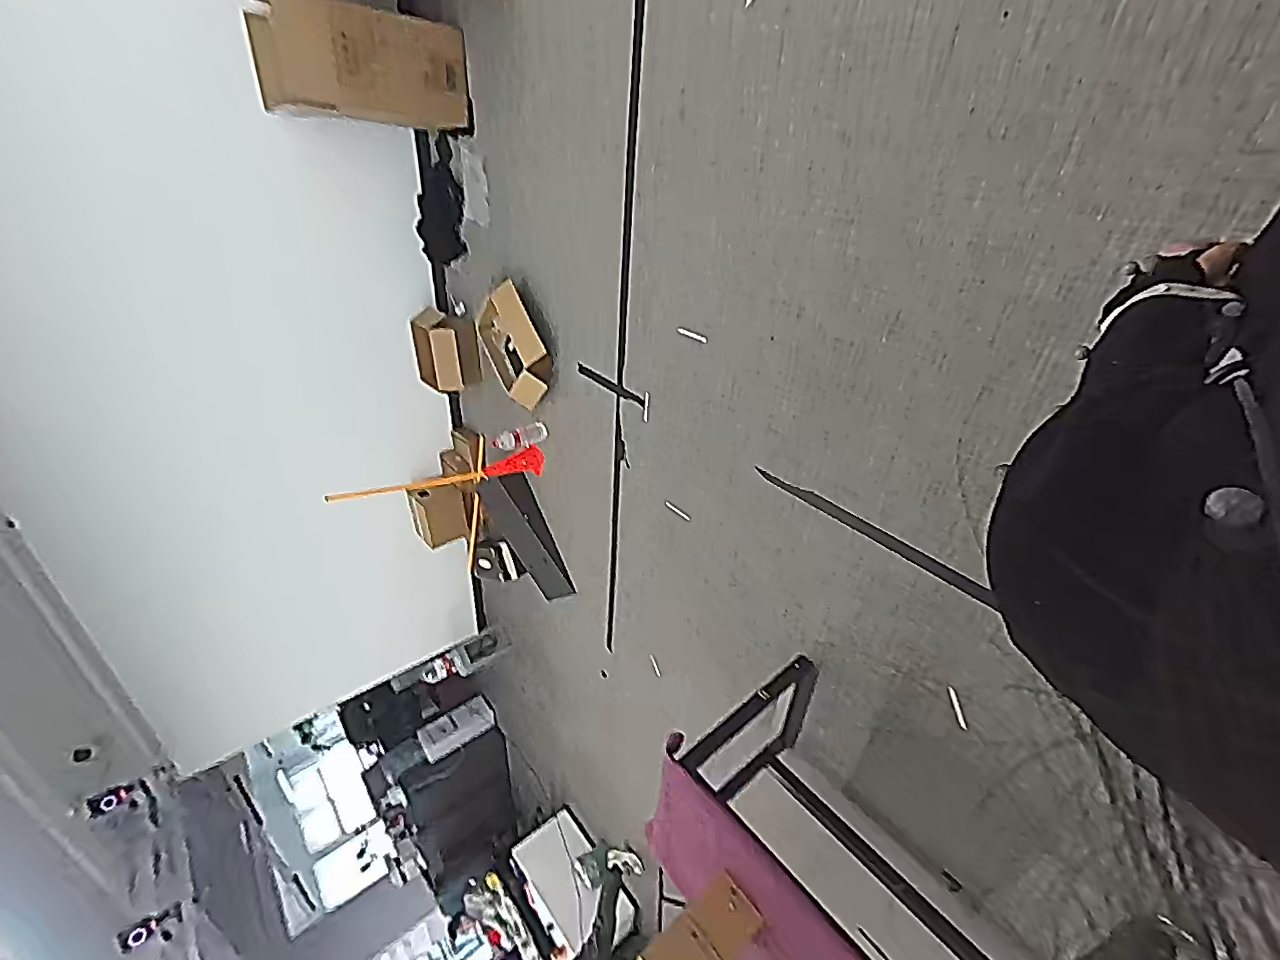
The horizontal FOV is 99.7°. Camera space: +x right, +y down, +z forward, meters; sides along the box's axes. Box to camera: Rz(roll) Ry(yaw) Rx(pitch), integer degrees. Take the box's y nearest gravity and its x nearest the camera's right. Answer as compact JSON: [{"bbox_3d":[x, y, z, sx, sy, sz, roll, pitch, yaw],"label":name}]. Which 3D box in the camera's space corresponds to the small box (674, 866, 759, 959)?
[{"bbox_3d":[0.225,1.295,1.591,0.168,0.176,0.179,39,135,34],"label":"small box"}]
